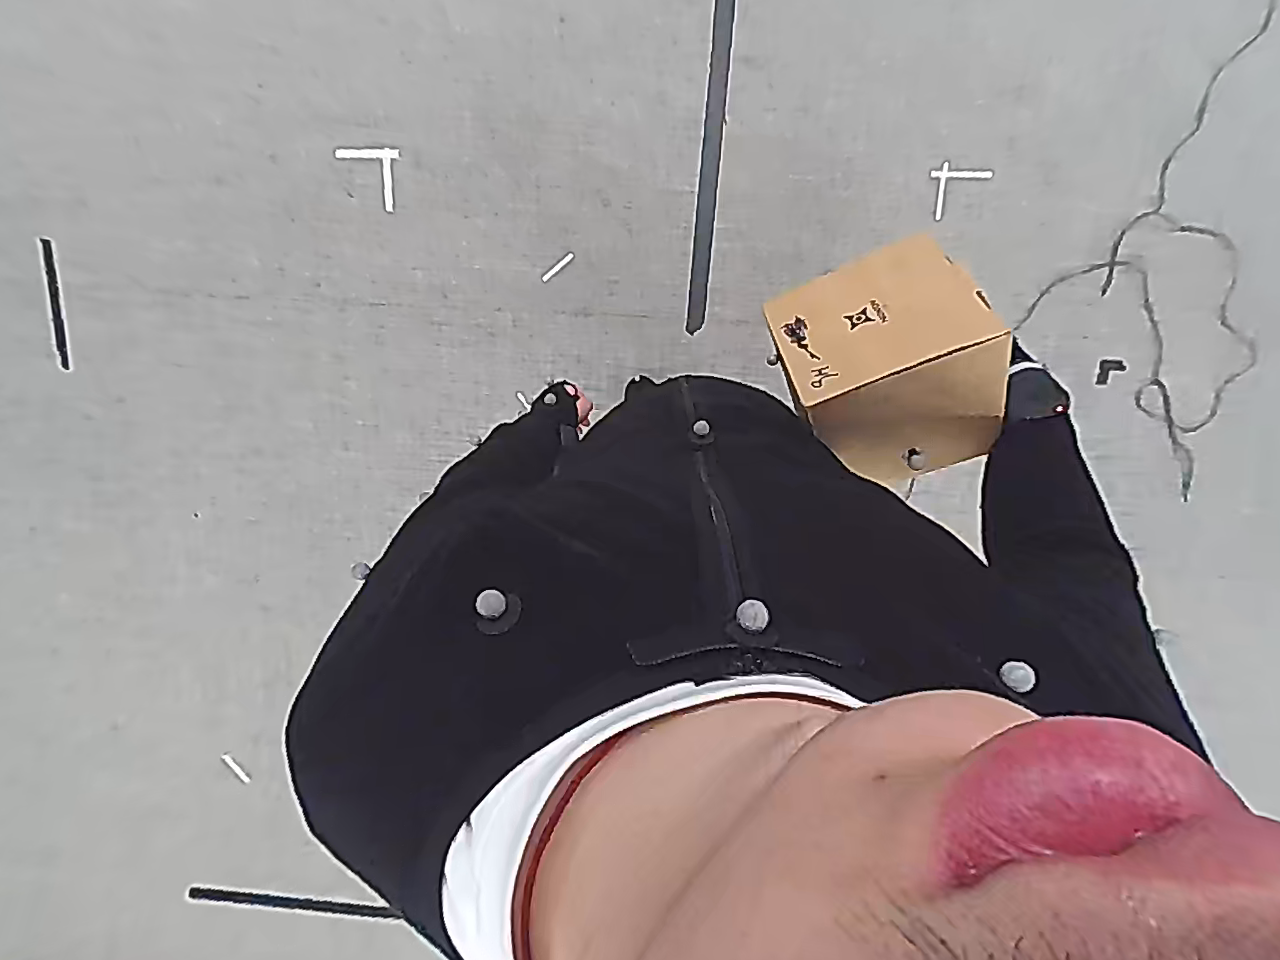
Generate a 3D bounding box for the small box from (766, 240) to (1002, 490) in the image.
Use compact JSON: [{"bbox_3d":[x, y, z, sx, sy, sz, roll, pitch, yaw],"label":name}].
[{"bbox_3d":[0.257,-0.117,0.593,0.179,0.168,0.176,-20,138,16],"label":"small box"}]
